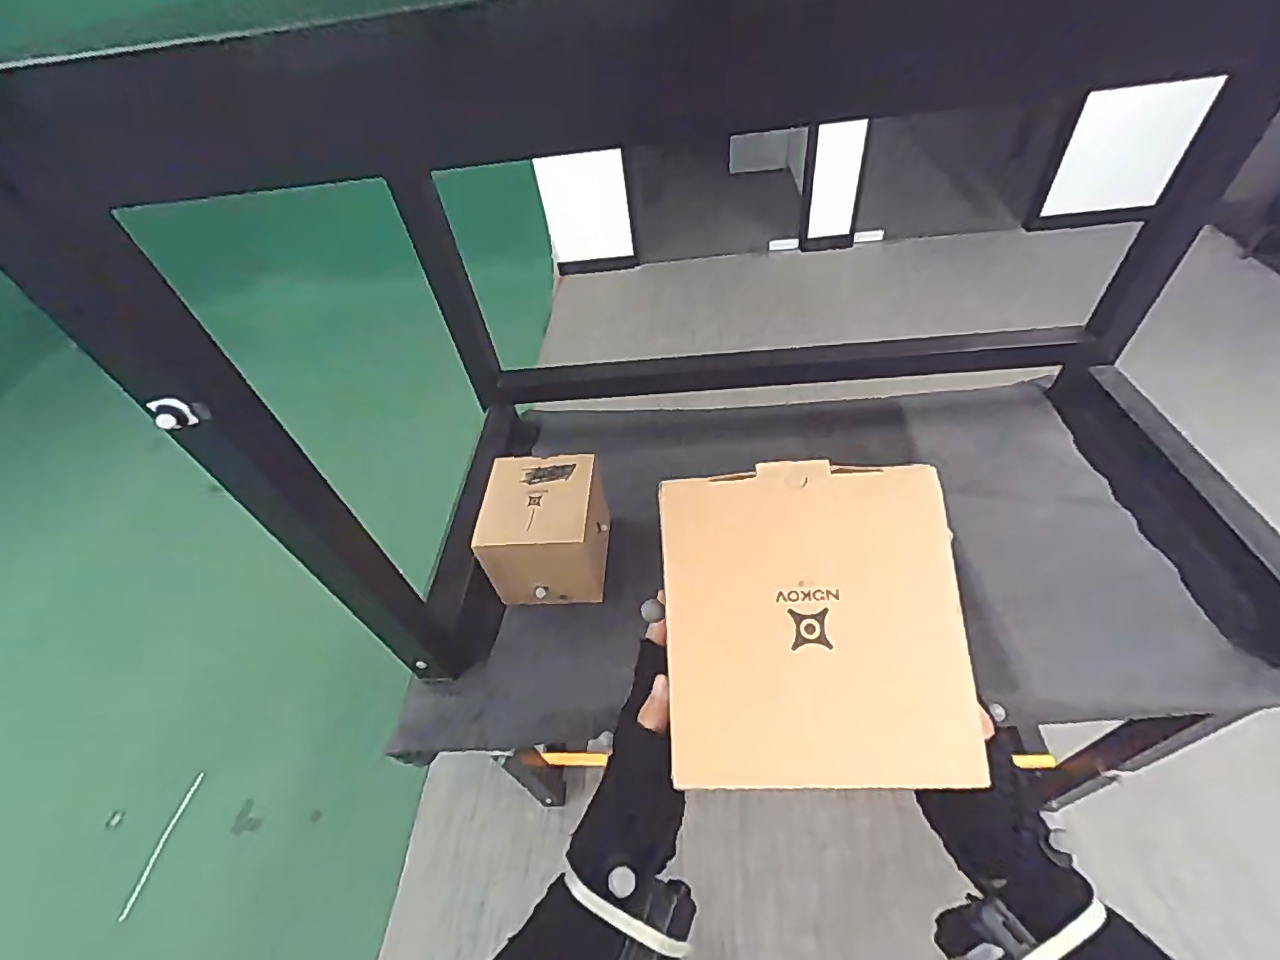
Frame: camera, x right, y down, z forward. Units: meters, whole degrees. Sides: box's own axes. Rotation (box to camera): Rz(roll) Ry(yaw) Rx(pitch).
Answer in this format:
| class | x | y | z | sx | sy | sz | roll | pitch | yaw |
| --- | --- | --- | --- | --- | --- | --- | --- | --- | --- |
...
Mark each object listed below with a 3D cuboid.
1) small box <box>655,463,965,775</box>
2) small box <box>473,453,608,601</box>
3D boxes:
| class | x | y | z | sx | sy | sz | roll | pitch | yaw |
| --- | --- | --- | --- | --- | --- | --- | --- | --- | --- |
| small box | 0.102 | 0.097 | 0.396 | 0.168 | 0.176 | 0.179 | -4 | 75 | 6 |
| small box | -0.148 | 0.077 | 0.876 | 0.168 | 0.176 | 0.179 | -3 | 48 | 6 |
